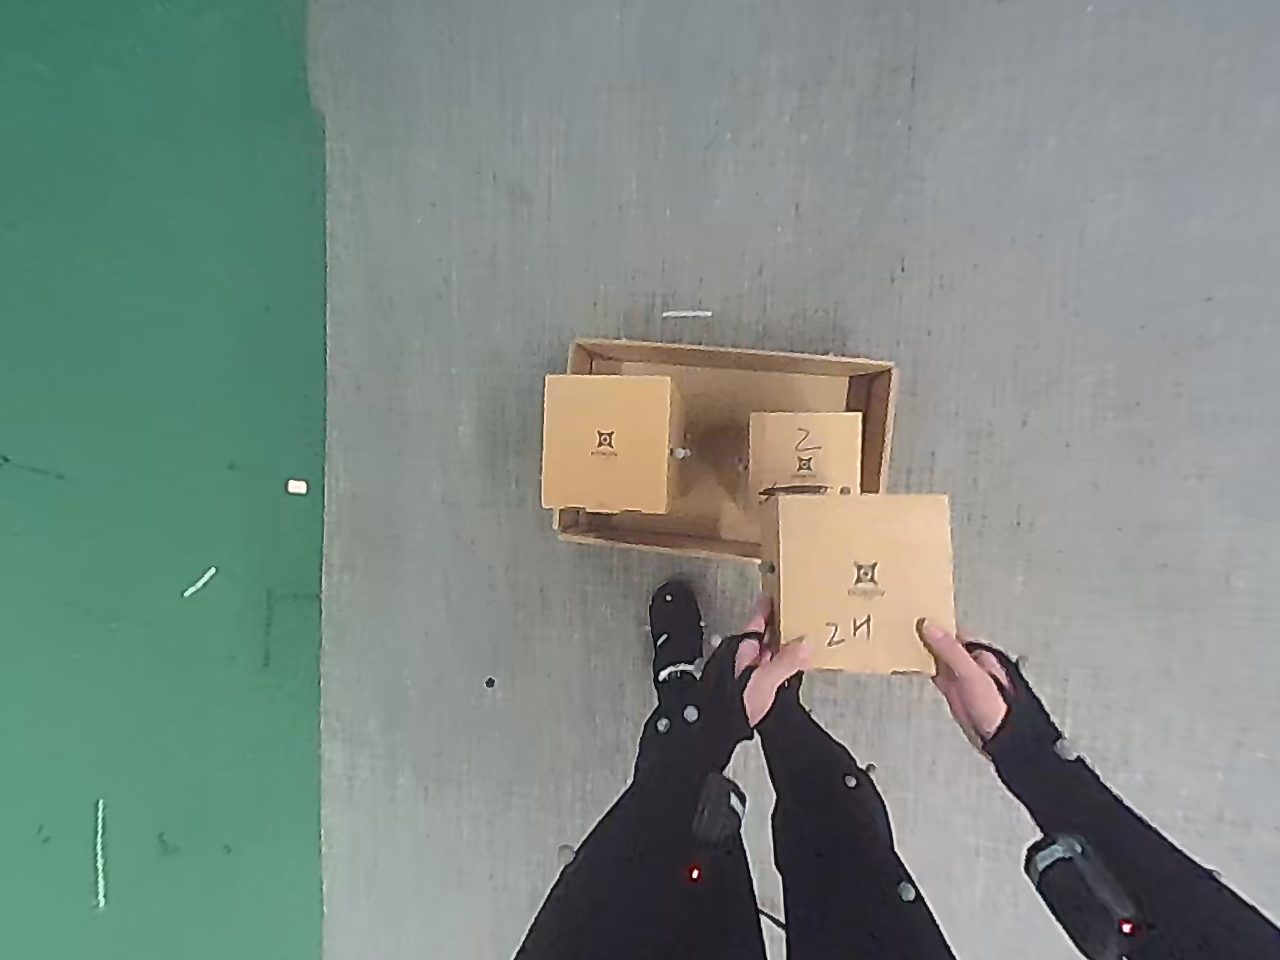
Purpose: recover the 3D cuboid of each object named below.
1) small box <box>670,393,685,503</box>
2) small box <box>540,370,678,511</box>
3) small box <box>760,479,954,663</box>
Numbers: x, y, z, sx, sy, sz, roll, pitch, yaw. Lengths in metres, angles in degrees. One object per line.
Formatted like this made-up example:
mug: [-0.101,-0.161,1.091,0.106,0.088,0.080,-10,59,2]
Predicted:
small box: [-0.013,-0.054,0.927,0.168,0.176,0.179,4,90,9]
small box: [-0.035,-0.053,0.767,0.168,0.176,0.179,2,92,8]
small box: [0.226,0.095,0.607,0.168,0.176,0.179,0,84,7]
